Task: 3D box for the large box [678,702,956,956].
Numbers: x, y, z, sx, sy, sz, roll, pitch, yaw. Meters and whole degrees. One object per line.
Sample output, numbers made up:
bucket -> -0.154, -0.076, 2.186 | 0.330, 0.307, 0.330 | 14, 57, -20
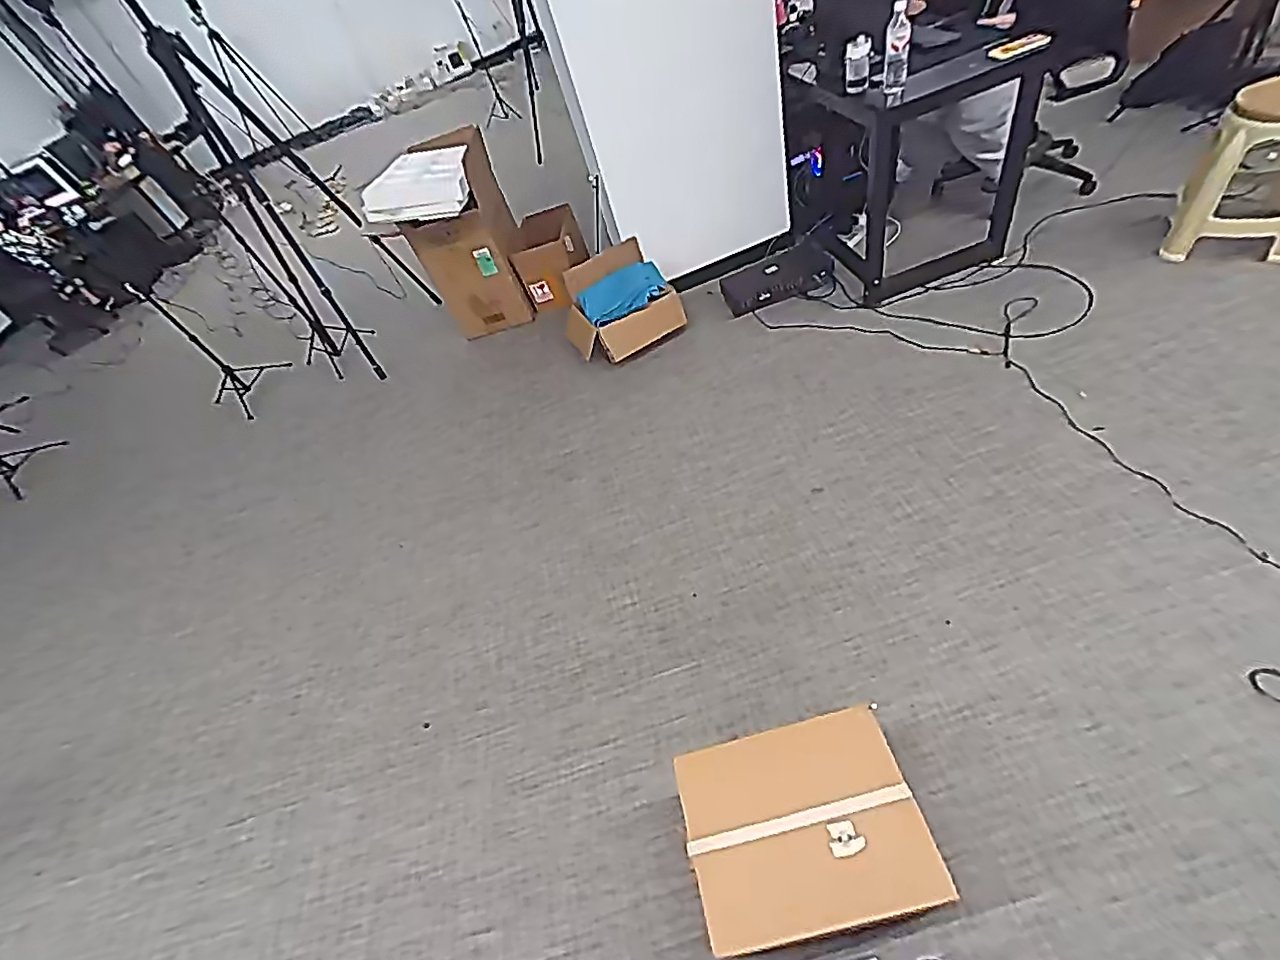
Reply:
large box -> 0.327, 0.700, 1.079 | 0.408, 0.320, 0.320 | -18, 48, 4
